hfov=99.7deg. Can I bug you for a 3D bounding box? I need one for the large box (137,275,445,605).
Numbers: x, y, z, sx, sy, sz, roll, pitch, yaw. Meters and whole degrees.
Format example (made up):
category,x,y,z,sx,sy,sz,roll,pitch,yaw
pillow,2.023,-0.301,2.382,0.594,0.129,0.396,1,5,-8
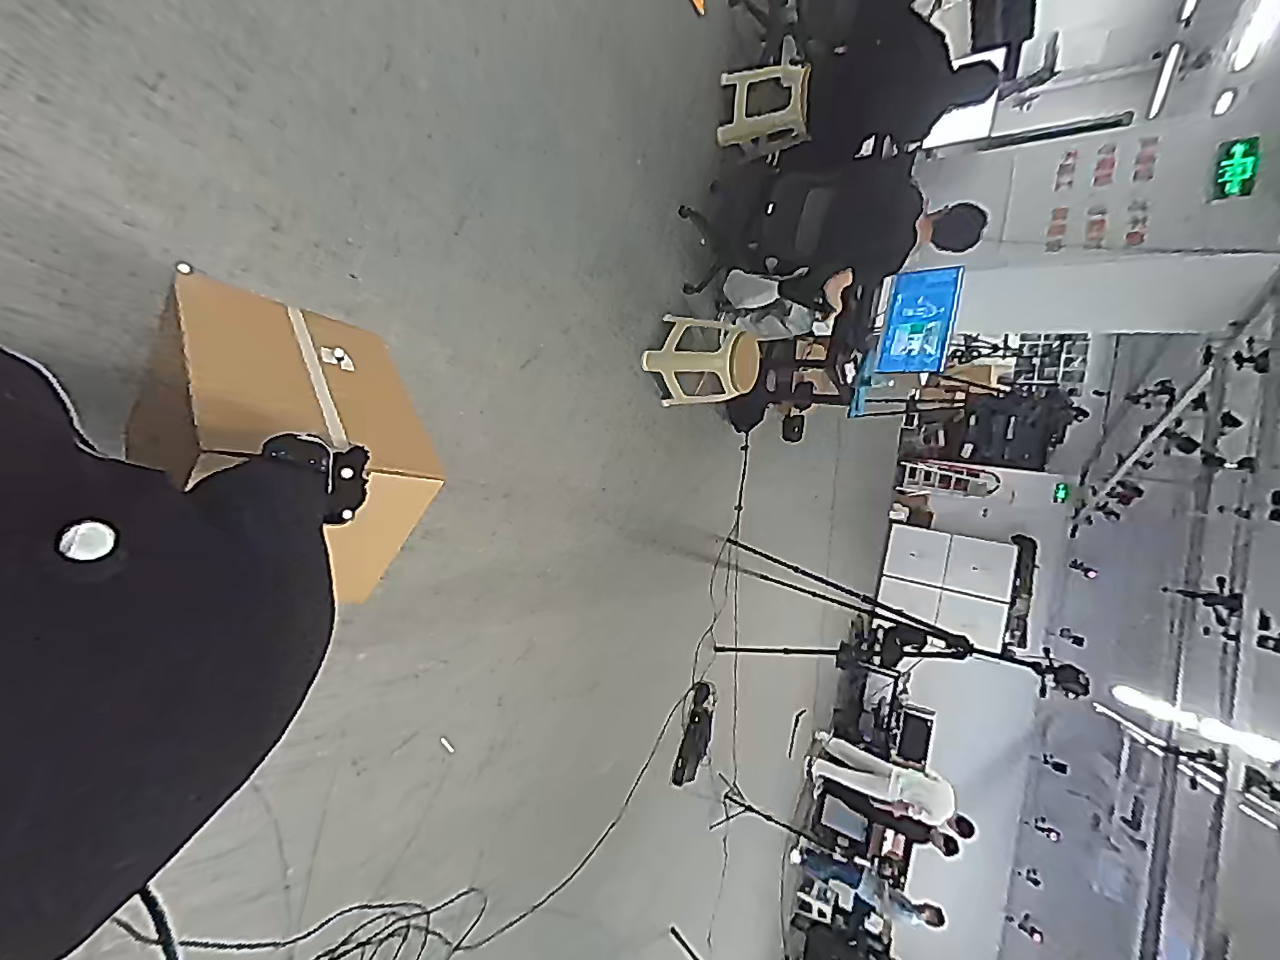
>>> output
category,x,y,z,sx,sy,sz,roll,pitch,yaw
large box,-0.593,-0.054,0.900,0.320,0.408,0.320,10,127,-51
